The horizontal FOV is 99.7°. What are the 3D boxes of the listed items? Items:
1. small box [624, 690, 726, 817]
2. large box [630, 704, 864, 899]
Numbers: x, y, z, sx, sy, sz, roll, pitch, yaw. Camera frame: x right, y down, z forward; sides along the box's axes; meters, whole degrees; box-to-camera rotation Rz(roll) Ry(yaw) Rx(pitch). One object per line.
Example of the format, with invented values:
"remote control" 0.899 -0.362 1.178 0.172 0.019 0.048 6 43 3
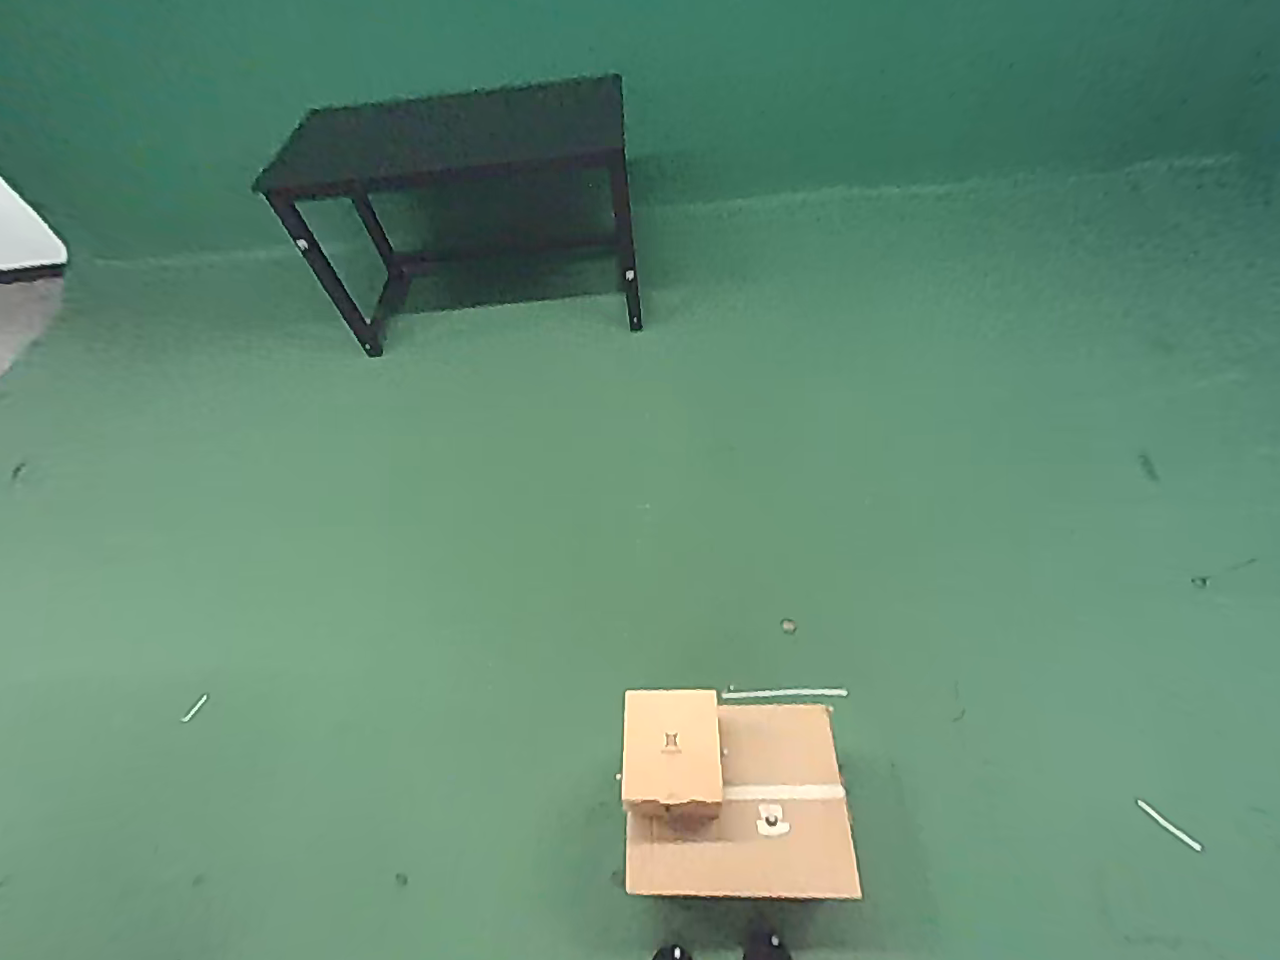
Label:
"small box" 0.063 0.491 0.968 0.168 0.176 0.179 -2 53 5
"large box" 0.191 0.670 1.124 0.408 0.320 0.320 -2 54 4
